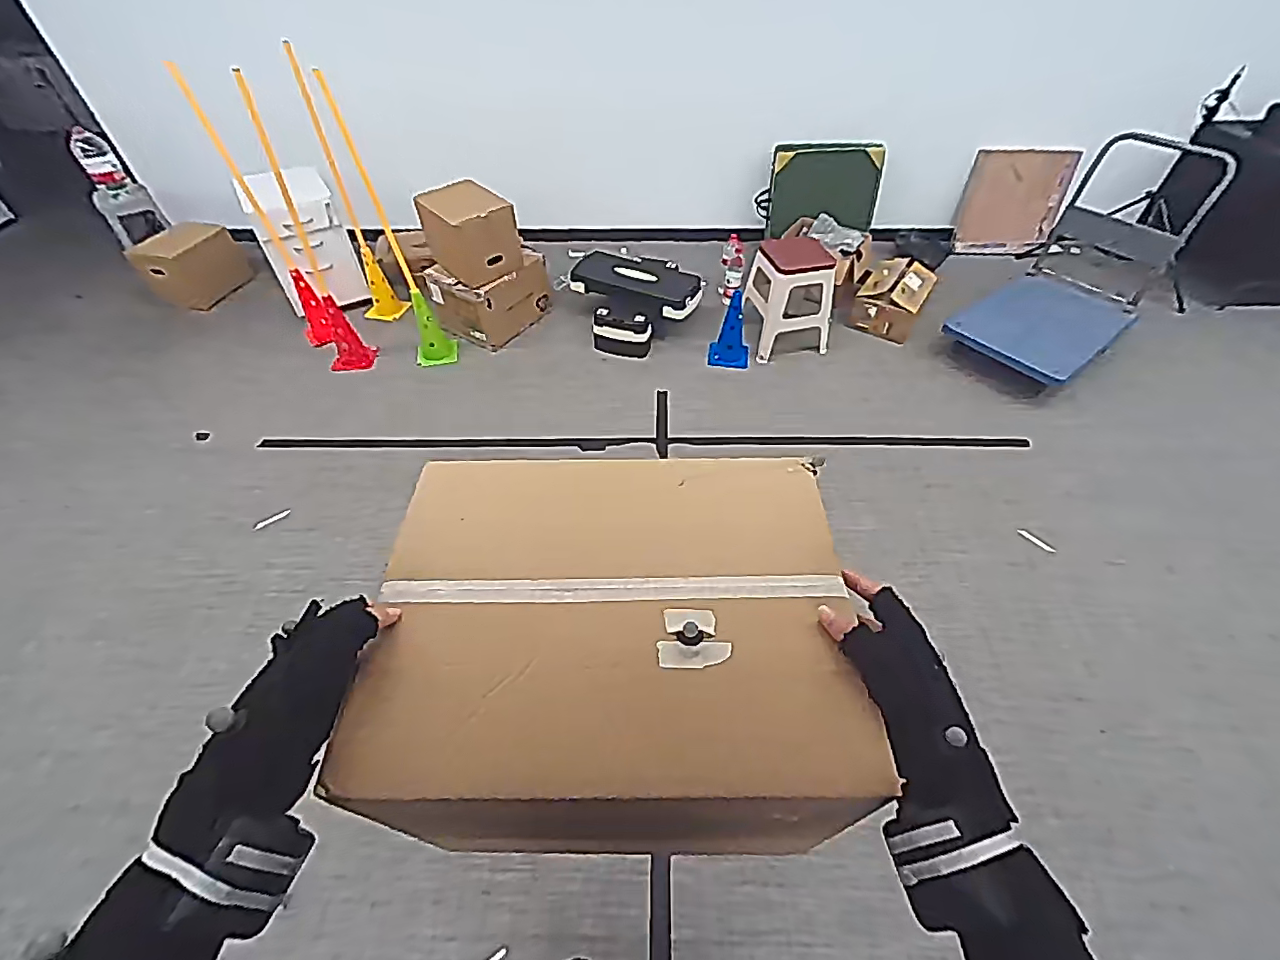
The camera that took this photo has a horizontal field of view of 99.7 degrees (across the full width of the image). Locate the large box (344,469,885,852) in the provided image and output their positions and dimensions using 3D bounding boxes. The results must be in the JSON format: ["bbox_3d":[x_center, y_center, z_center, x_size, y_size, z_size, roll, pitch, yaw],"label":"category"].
[{"bbox_3d":[-0.019,0.203,0.599,0.408,0.320,0.320,0,50,1],"label":"large box"}]
